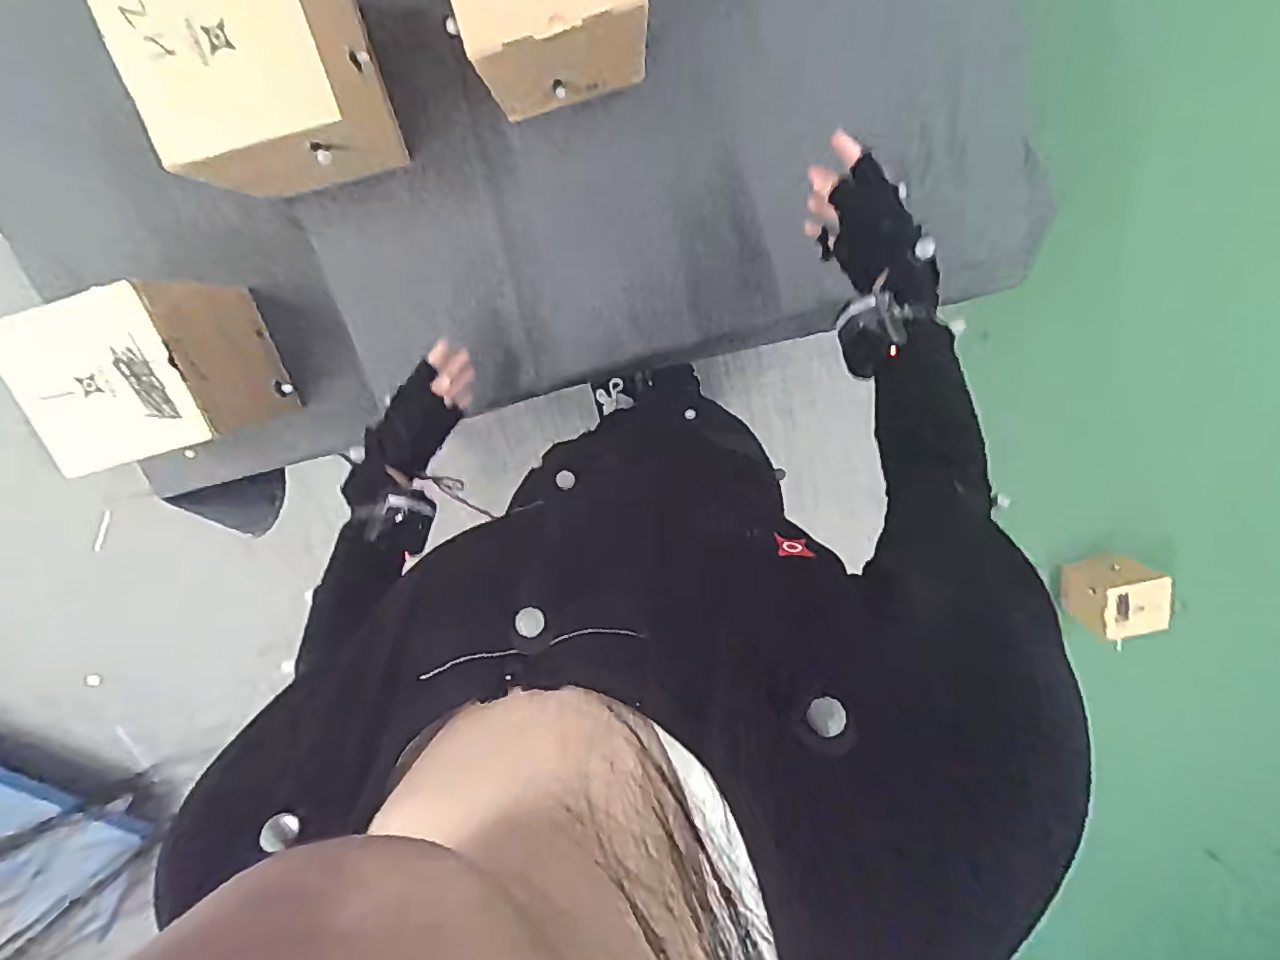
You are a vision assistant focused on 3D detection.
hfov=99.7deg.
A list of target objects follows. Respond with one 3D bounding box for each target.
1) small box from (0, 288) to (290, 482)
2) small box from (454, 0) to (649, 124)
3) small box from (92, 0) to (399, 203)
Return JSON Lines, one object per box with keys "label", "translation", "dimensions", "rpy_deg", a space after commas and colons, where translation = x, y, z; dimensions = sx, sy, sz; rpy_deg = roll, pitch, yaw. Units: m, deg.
{"label": "small box", "translation": [-0.550, -0.117, 0.627], "dimensions": [0.179, 0.176, 0.168], "rpy_deg": [-15, 106, 3]}
{"label": "small box", "translation": [-0.094, -0.490, 0.529], "dimensions": [0.168, 0.176, 0.179], "rpy_deg": [-15, 107, 3]}
{"label": "small box", "translation": [-0.369, -0.399, 0.546], "dimensions": [0.179, 0.176, 0.168], "rpy_deg": [-13, 108, 2]}
